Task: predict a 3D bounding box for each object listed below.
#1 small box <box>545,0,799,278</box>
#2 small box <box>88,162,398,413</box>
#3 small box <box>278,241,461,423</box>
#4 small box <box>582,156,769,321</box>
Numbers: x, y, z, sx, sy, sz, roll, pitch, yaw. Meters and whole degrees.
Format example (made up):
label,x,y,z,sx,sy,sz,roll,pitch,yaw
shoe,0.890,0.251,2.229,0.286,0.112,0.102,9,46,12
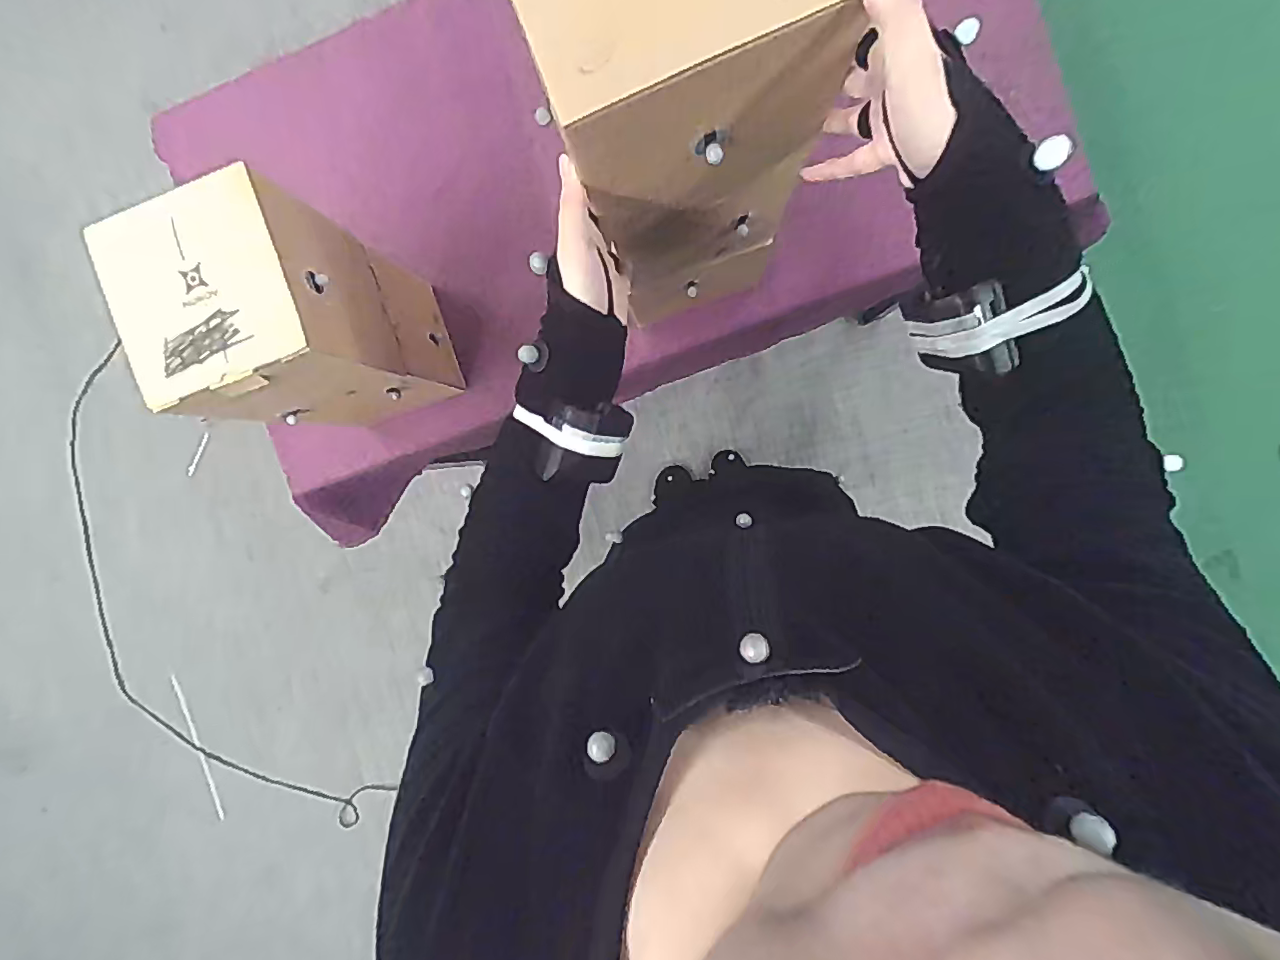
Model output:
label,x,y,z,sx,sy,sz,roll,pitch,yaw
small box,0.032,-0.313,0.515,0.168,0.176,0.179,-19,91,5
small box,-0.383,-0.174,0.557,0.168,0.176,0.179,-19,90,5
small box,-0.372,-0.181,0.720,0.179,0.176,0.168,-19,92,4
small box,0.046,-0.317,0.678,0.179,0.176,0.168,-17,93,5
